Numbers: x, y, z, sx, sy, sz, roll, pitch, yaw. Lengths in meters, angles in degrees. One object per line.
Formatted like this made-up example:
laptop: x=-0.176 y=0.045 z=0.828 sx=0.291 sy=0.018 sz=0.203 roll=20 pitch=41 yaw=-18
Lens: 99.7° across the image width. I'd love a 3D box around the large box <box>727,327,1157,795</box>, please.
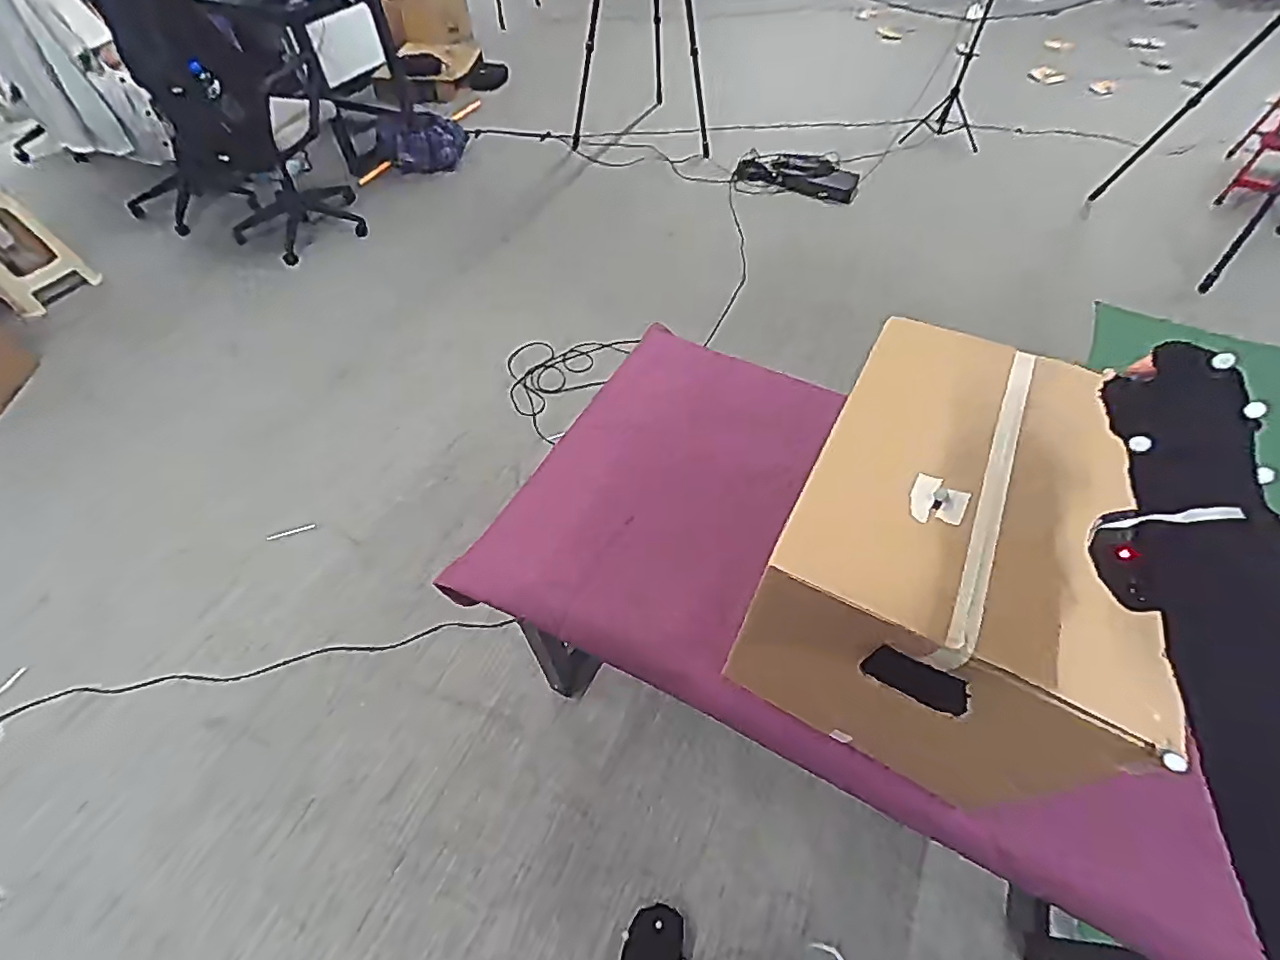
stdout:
large box: x=0.342 y=0.092 z=0.663 sx=0.320 sy=0.320 sz=0.408 roll=25 pitch=58 yaw=18
